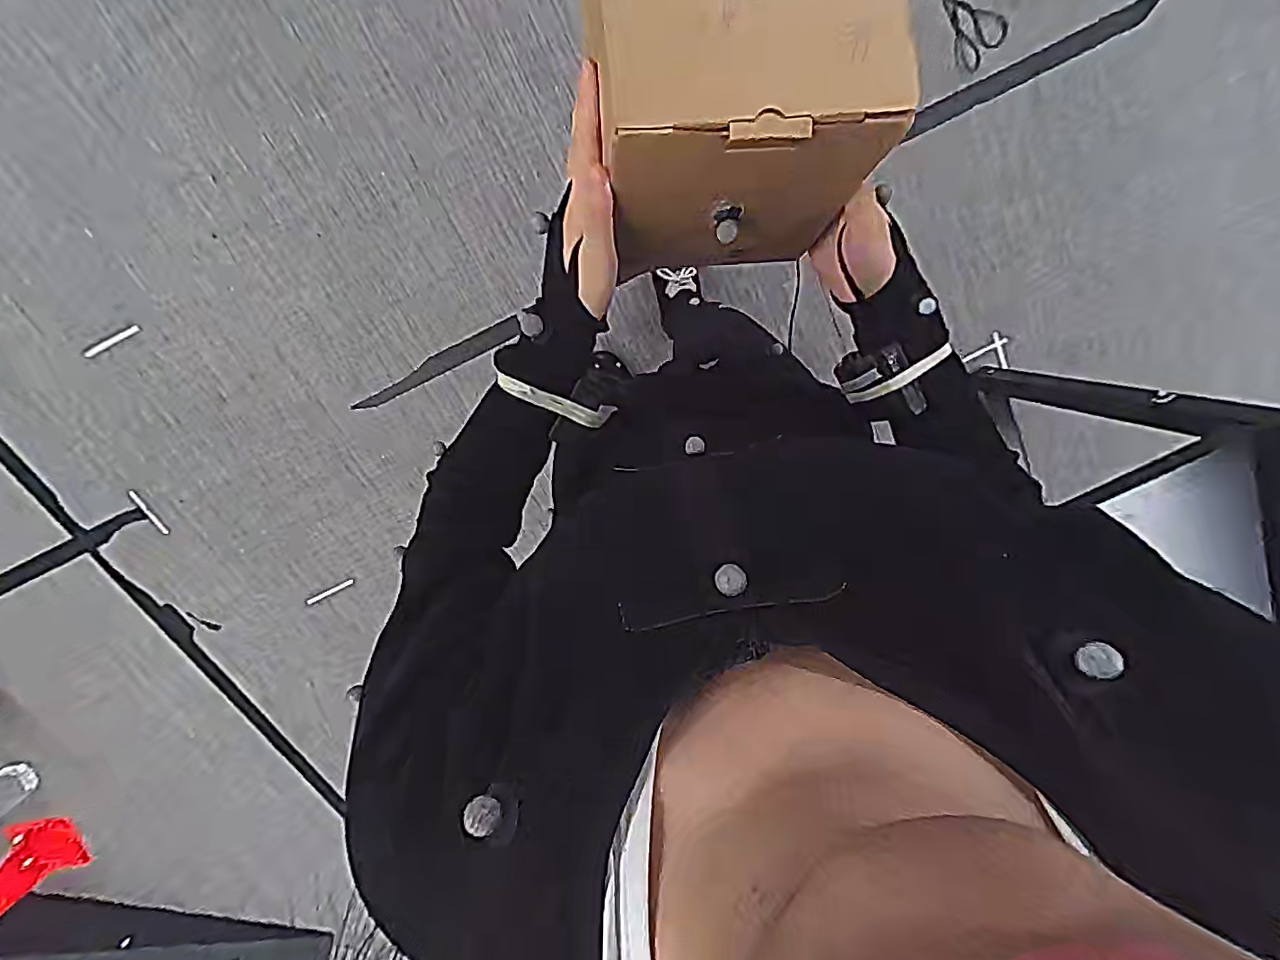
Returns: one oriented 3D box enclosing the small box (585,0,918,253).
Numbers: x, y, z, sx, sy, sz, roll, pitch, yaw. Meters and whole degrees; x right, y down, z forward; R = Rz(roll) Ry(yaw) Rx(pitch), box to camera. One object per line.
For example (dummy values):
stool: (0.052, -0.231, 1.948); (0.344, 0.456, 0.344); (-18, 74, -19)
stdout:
small box: (0.052, -0.267, 0.361); (0.168, 0.176, 0.179); (-6, 89, -6)
